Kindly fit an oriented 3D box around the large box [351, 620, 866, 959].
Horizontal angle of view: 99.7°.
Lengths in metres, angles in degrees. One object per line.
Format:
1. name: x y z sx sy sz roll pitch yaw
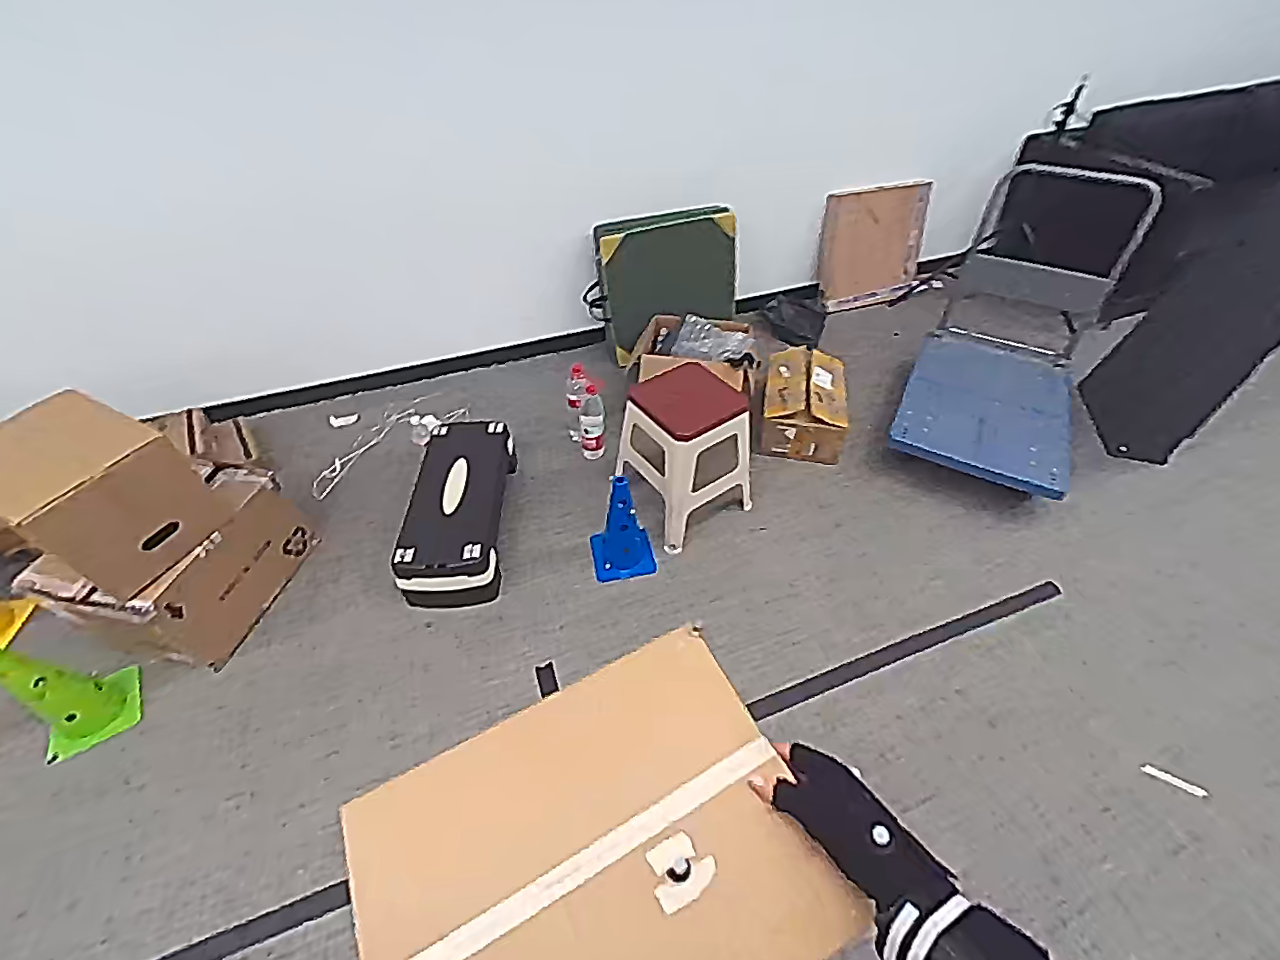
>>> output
1. large box: -0.039 0.440 0.617 0.408 0.320 0.320 -23 54 -17
